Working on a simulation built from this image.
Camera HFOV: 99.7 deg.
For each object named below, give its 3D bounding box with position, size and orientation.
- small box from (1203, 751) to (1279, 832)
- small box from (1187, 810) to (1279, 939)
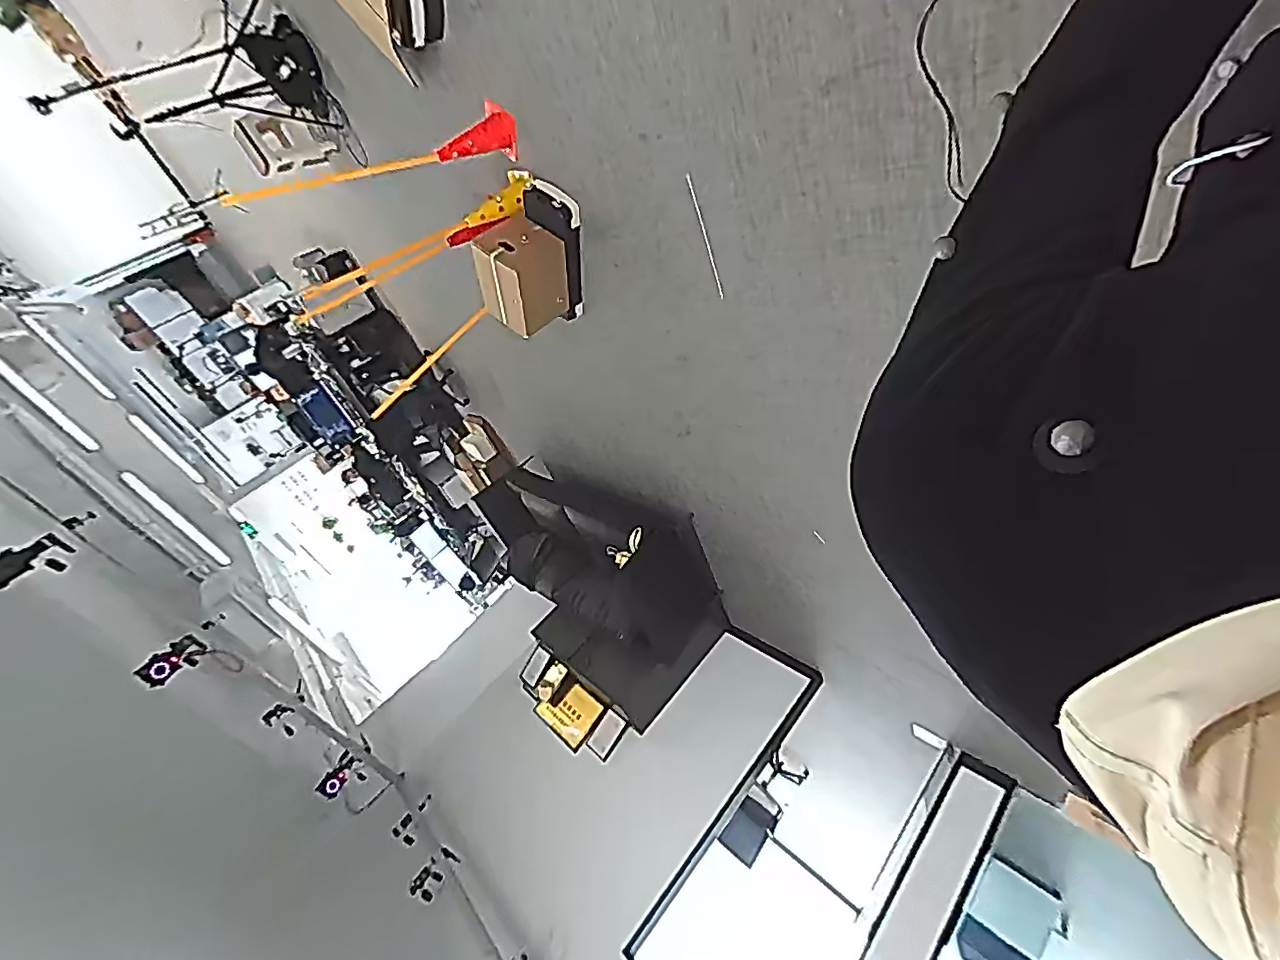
[{"bbox_3d":[1.553,0.816,1.334,0.179,0.176,0.168,22,145,46],"label":"small box"},{"bbox_3d":[1.441,0.915,1.267,0.179,0.176,0.168,20,143,47],"label":"small box"}]
